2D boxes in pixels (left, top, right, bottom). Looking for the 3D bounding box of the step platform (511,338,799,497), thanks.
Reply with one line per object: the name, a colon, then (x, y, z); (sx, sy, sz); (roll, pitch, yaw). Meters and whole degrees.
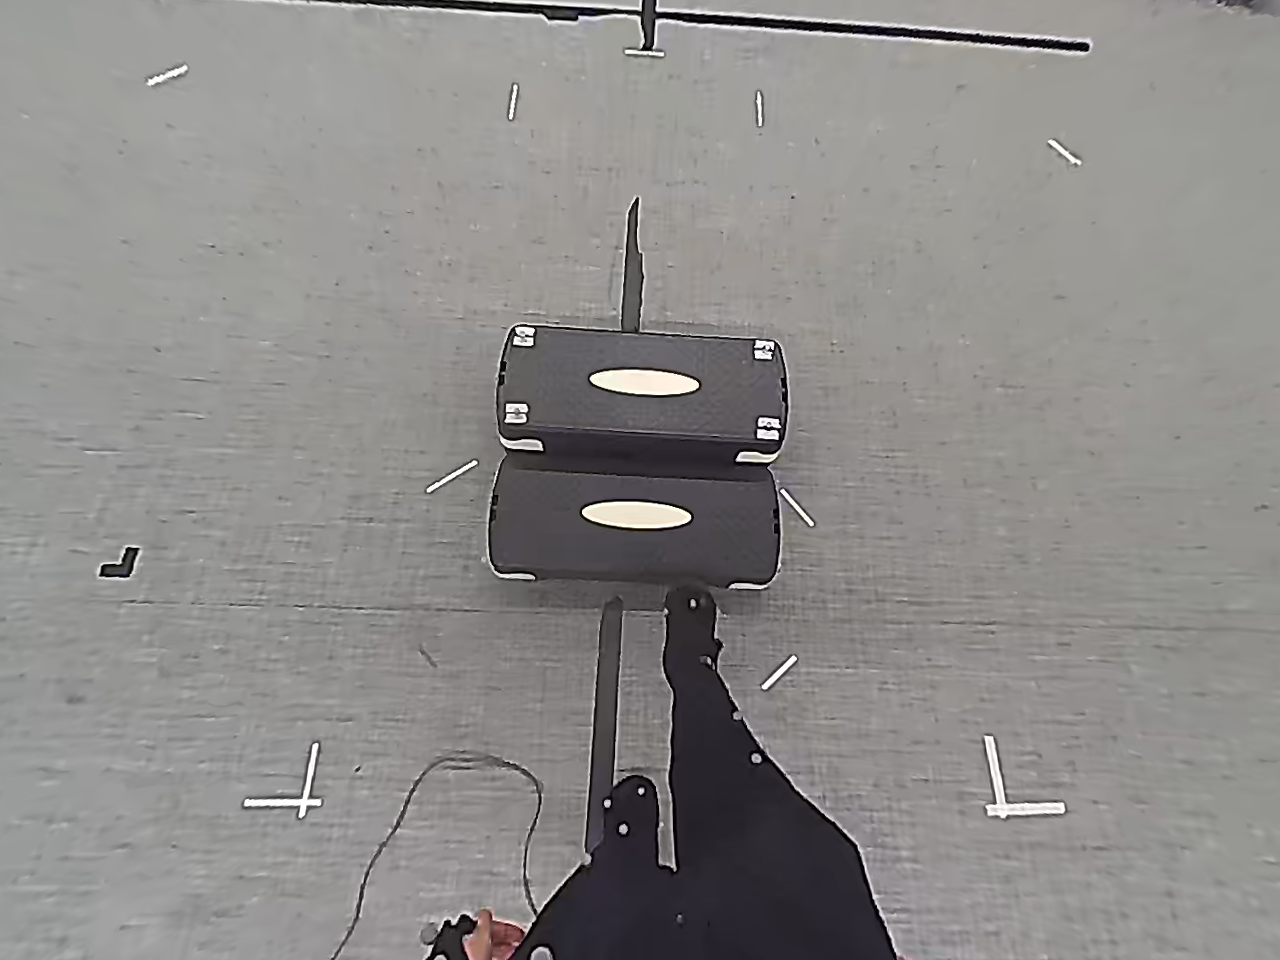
step platform: (0.035, -0.151, 1.327); (0.684, 0.204, 0.286); (7, 70, -1)
